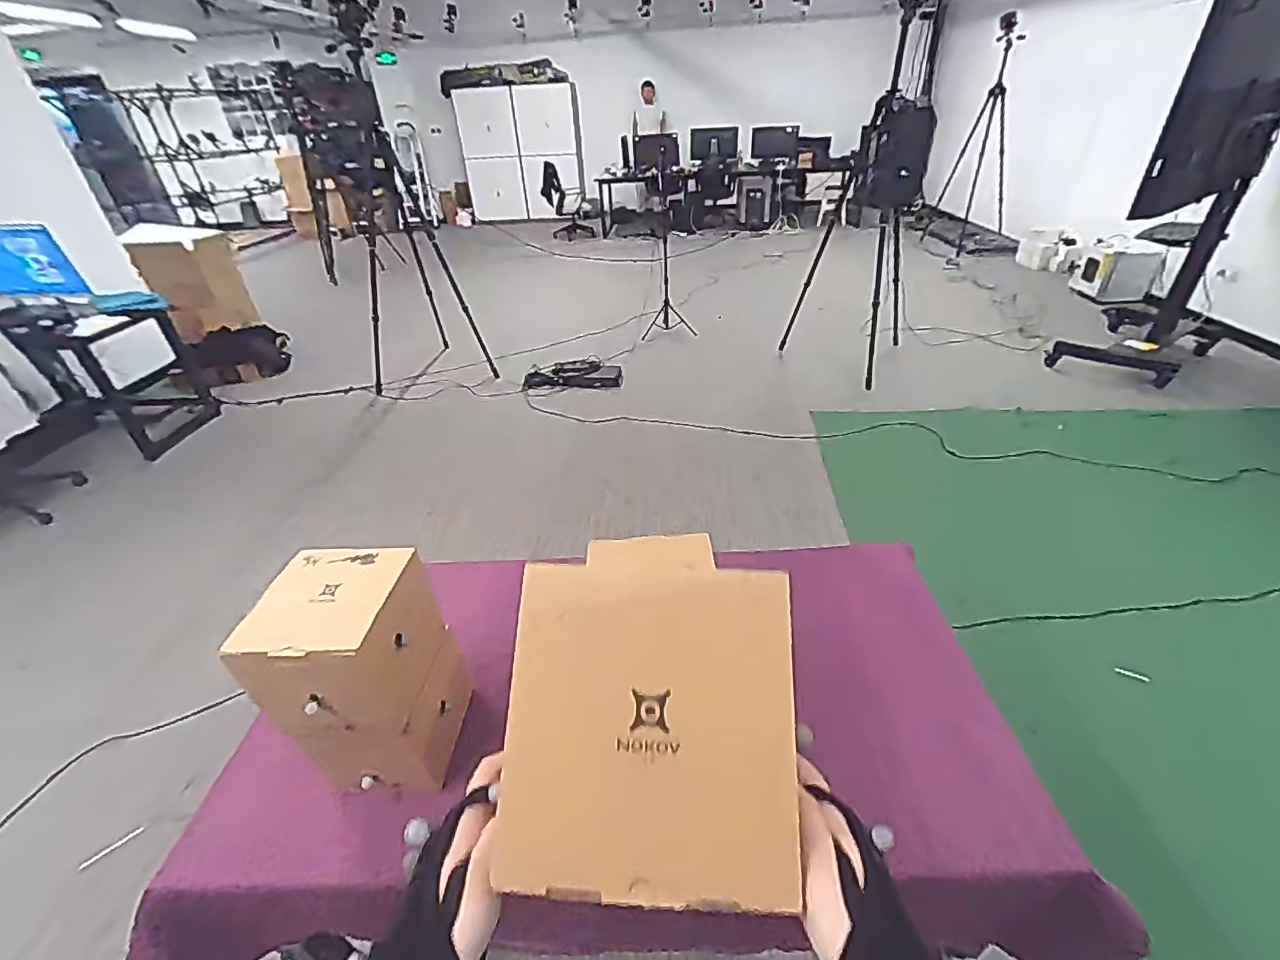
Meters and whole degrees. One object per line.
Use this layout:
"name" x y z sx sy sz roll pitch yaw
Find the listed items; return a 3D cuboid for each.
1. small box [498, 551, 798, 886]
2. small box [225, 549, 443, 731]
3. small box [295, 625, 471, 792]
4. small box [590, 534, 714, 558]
"small box" 0.010 0.155 0.393 0.168 0.176 0.179 1 73 4
"small box" -0.382 0.212 0.720 0.168 0.176 0.179 -1 36 3
"small box" -0.369 0.341 0.820 0.168 0.176 0.179 -2 36 3
"small box" 0.019 0.192 0.710 0.168 0.176 0.179 -4 35 1
